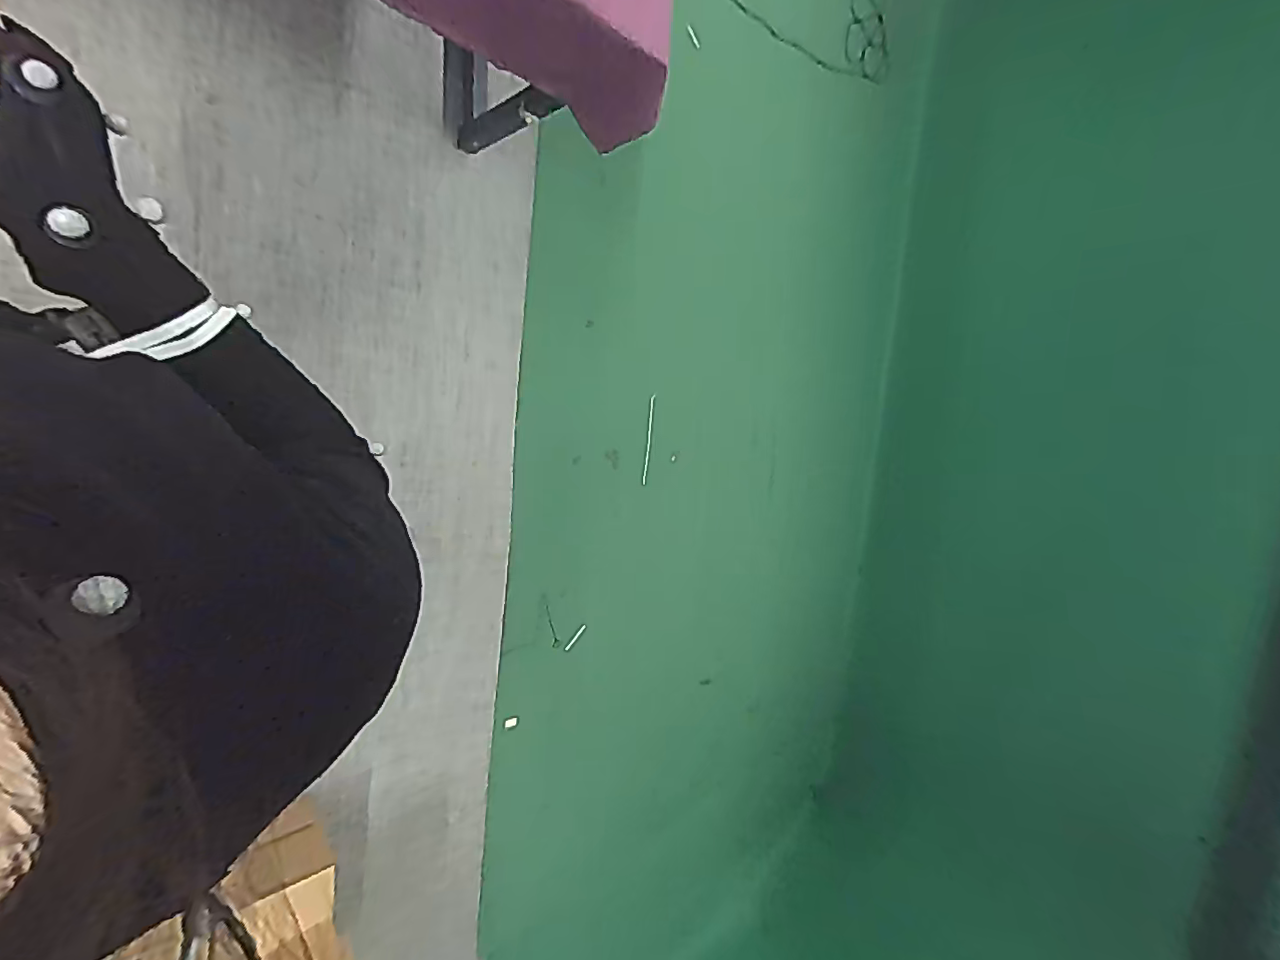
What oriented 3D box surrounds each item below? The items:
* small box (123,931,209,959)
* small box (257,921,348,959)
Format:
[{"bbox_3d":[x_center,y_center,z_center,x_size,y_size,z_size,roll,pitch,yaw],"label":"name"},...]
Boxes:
[{"bbox_3d":[-0.870,0.969,0.954,0.168,0.176,0.179,5,97,-47],"label":"small box"},{"bbox_3d":[-0.729,1.107,1.144,0.179,0.176,0.168,-5,104,-47],"label":"small box"}]
